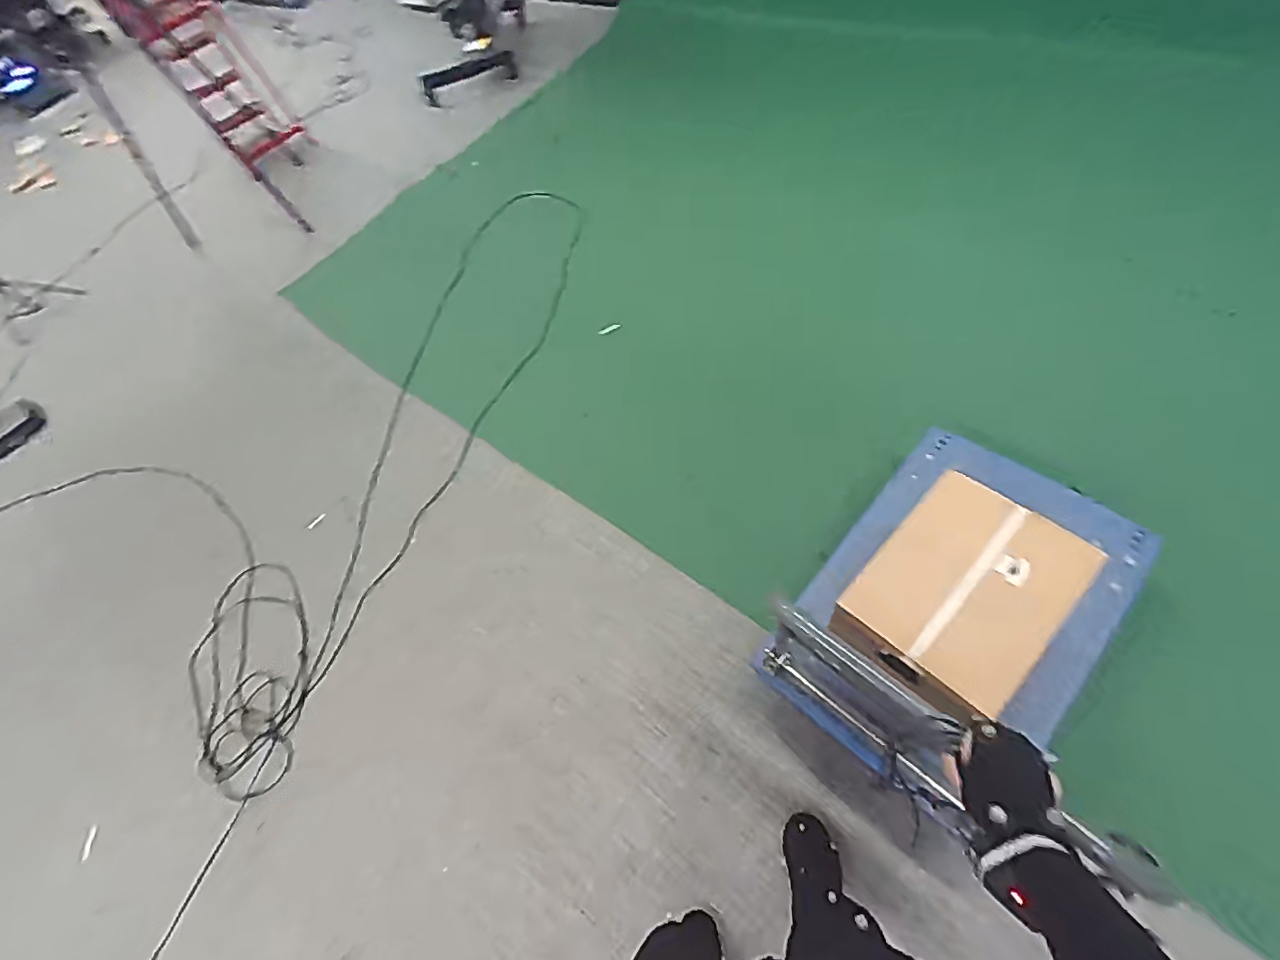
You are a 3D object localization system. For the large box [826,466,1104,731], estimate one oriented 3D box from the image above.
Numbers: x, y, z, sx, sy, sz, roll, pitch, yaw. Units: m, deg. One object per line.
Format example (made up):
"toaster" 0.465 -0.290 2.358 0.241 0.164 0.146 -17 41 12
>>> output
"large box" 0.656 0.258 1.160 0.408 0.320 0.320 -43 62 -14
